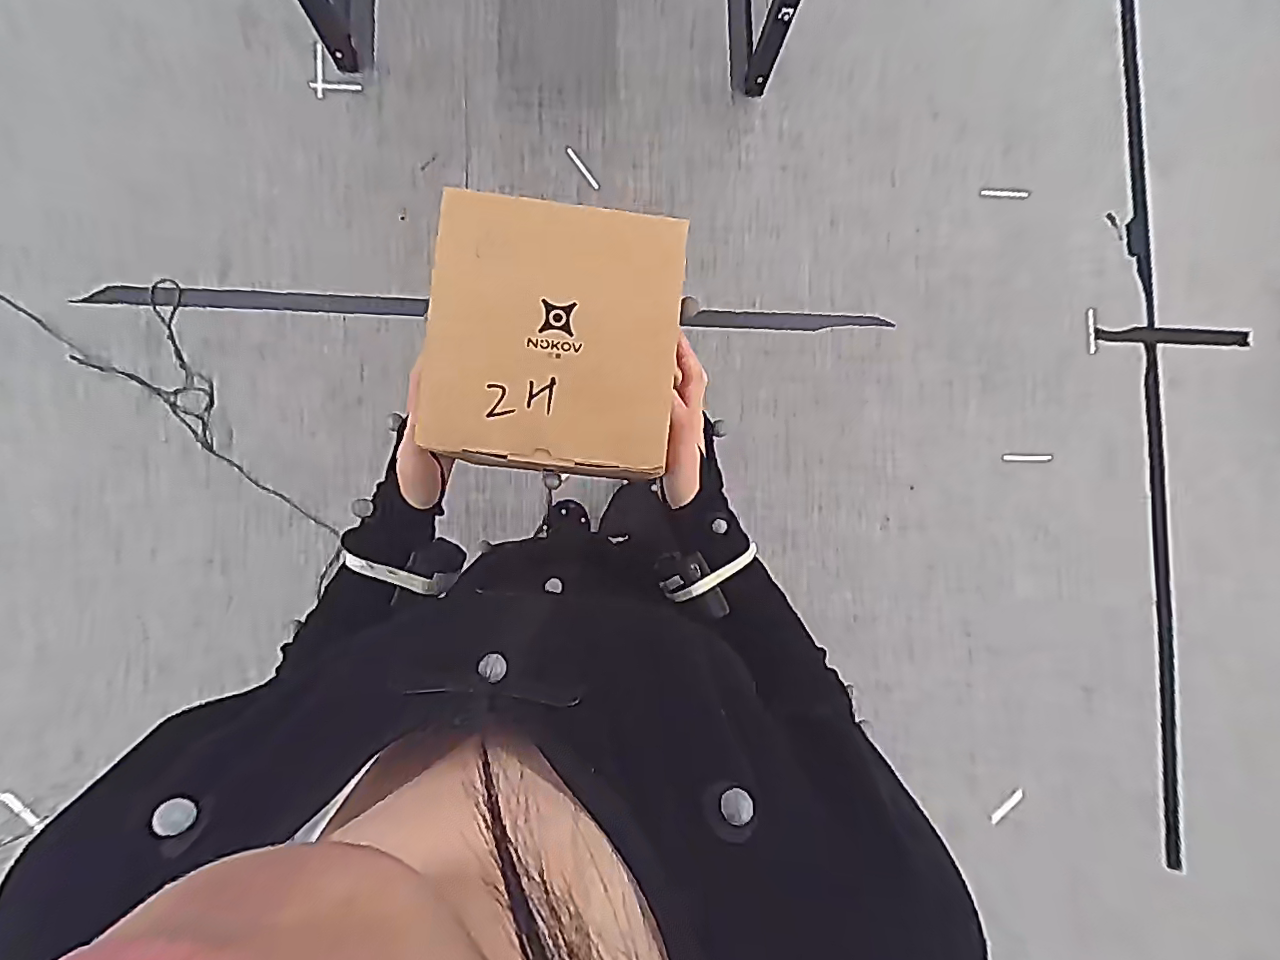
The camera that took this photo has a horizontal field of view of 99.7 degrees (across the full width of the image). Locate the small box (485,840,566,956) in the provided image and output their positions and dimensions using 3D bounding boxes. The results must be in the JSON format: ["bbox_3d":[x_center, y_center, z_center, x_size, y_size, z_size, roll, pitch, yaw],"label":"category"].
[{"bbox_3d":[-0.278,1.028,1.342,0.179,0.176,0.168,2,87,-7],"label":"small box"}]

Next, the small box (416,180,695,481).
[{"bbox_3d":[-0.059,-0.097,0.431,0.168,0.176,0.179,6,88,-4],"label":"small box"}]
